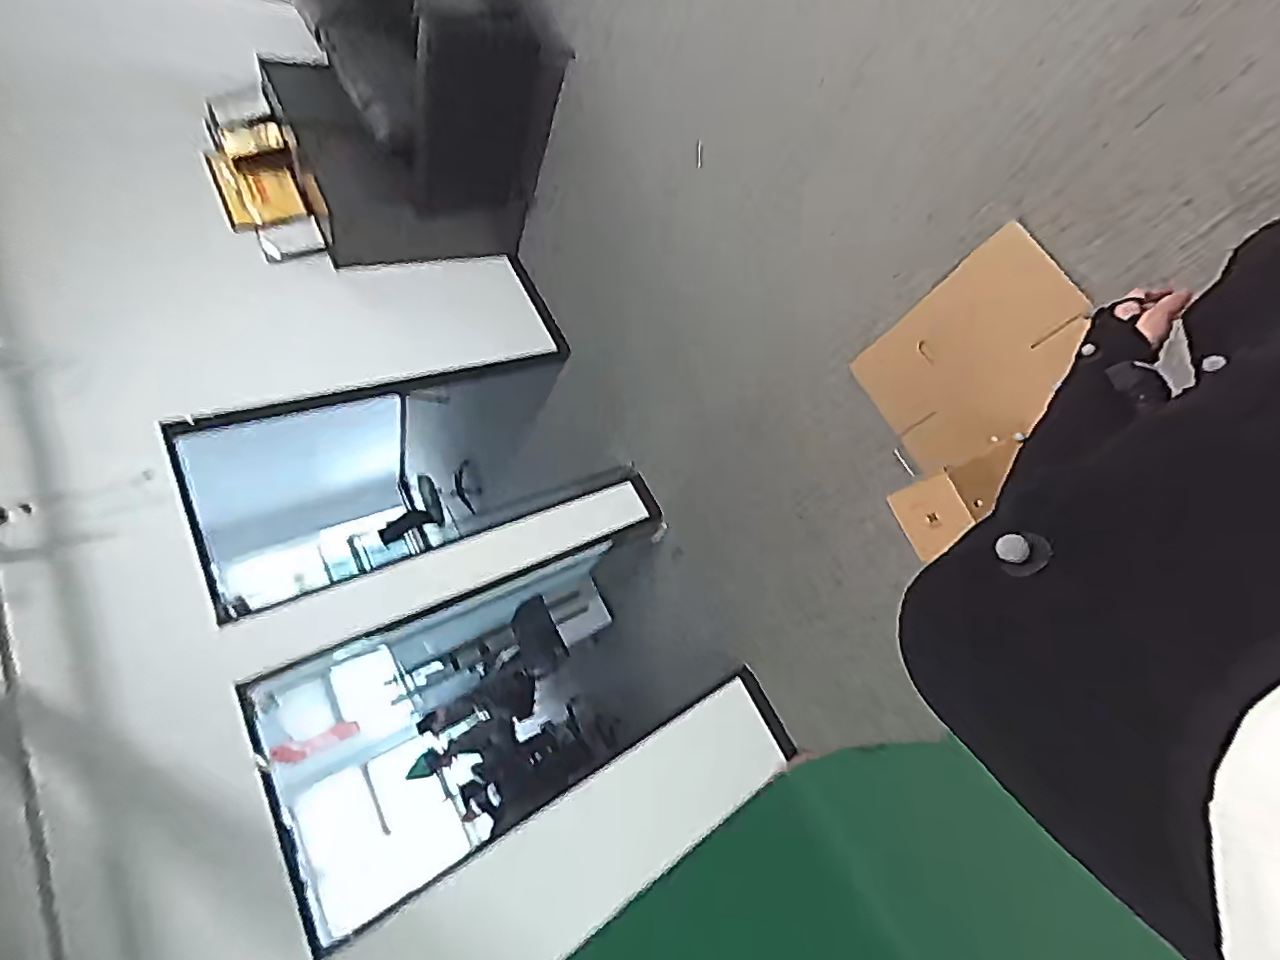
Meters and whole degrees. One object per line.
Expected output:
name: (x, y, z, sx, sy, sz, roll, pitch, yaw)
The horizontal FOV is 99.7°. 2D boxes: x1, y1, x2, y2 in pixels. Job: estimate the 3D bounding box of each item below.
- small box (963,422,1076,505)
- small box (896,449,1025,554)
small box: (1.015, -0.033, 1.451, 0.179, 0.176, 0.168, 64, 148, 11)
small box: (0.755, 0.051, 1.270, 0.168, 0.176, 0.179, -40, 72, 57)
